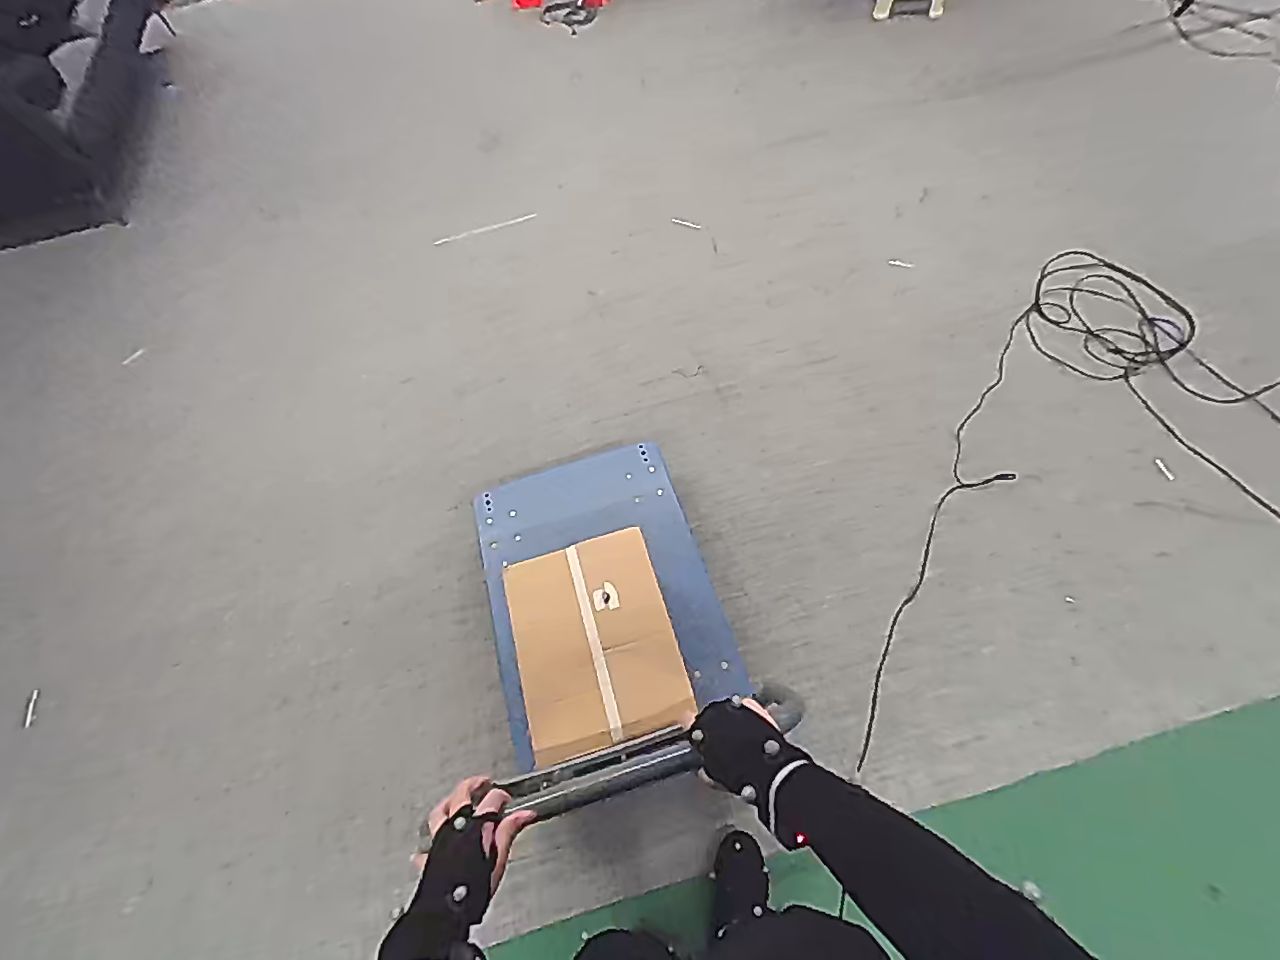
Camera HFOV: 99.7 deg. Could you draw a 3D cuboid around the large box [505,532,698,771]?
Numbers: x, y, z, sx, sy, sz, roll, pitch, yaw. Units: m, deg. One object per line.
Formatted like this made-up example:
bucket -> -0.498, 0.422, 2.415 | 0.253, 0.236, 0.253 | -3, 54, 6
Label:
large box -> -0.079, 0.393, 1.225 | 0.320, 0.320, 0.408 | -17, 60, -4
